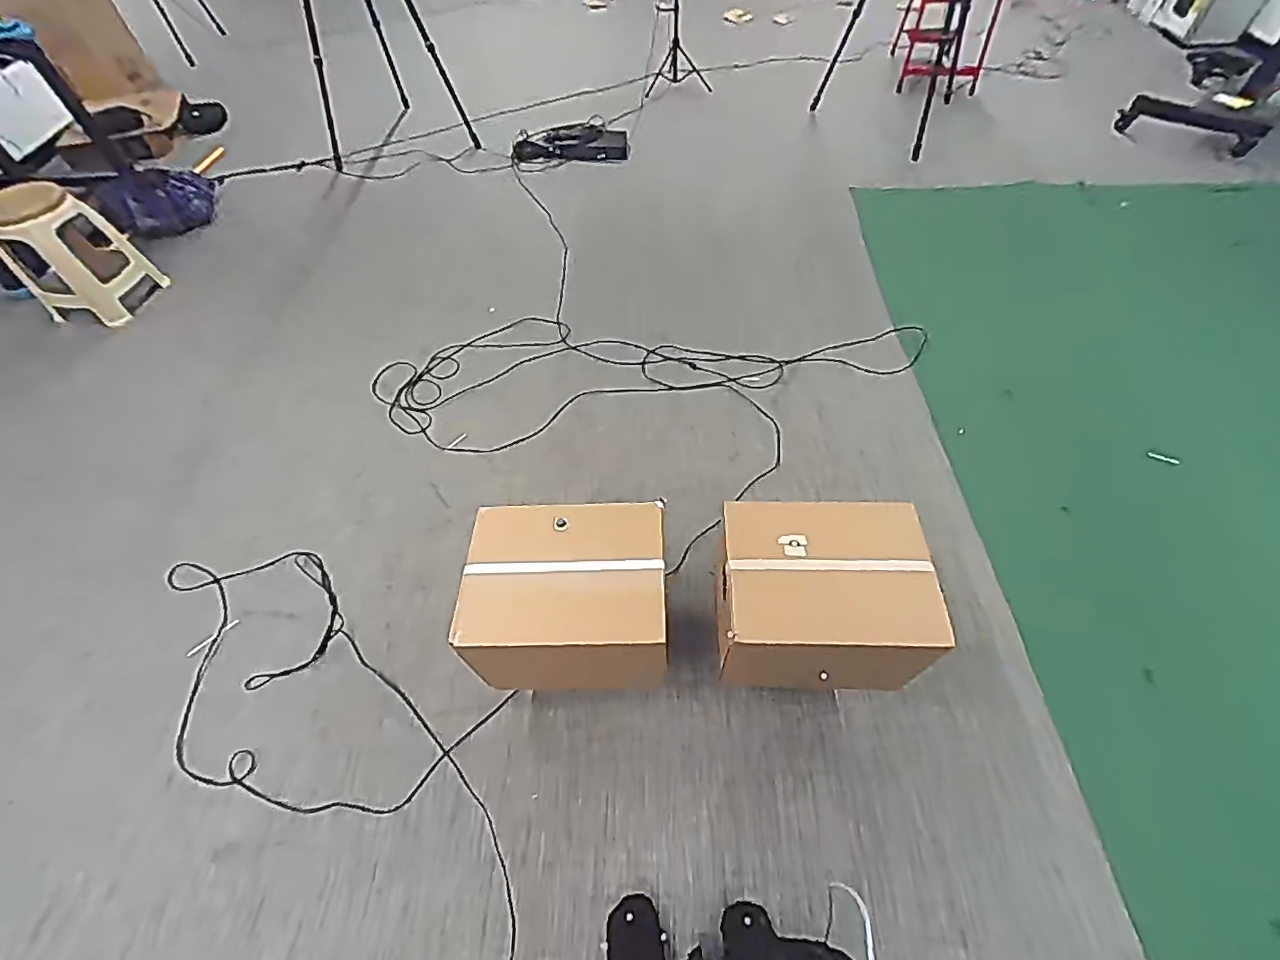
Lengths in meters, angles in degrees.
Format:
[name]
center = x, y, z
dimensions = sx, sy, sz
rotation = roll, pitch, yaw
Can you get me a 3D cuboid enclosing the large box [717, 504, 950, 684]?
[large box]
center = 0.390, 0.264, 1.214
dimensions = 0.408, 0.320, 0.320
rotation = 0, 55, 4
